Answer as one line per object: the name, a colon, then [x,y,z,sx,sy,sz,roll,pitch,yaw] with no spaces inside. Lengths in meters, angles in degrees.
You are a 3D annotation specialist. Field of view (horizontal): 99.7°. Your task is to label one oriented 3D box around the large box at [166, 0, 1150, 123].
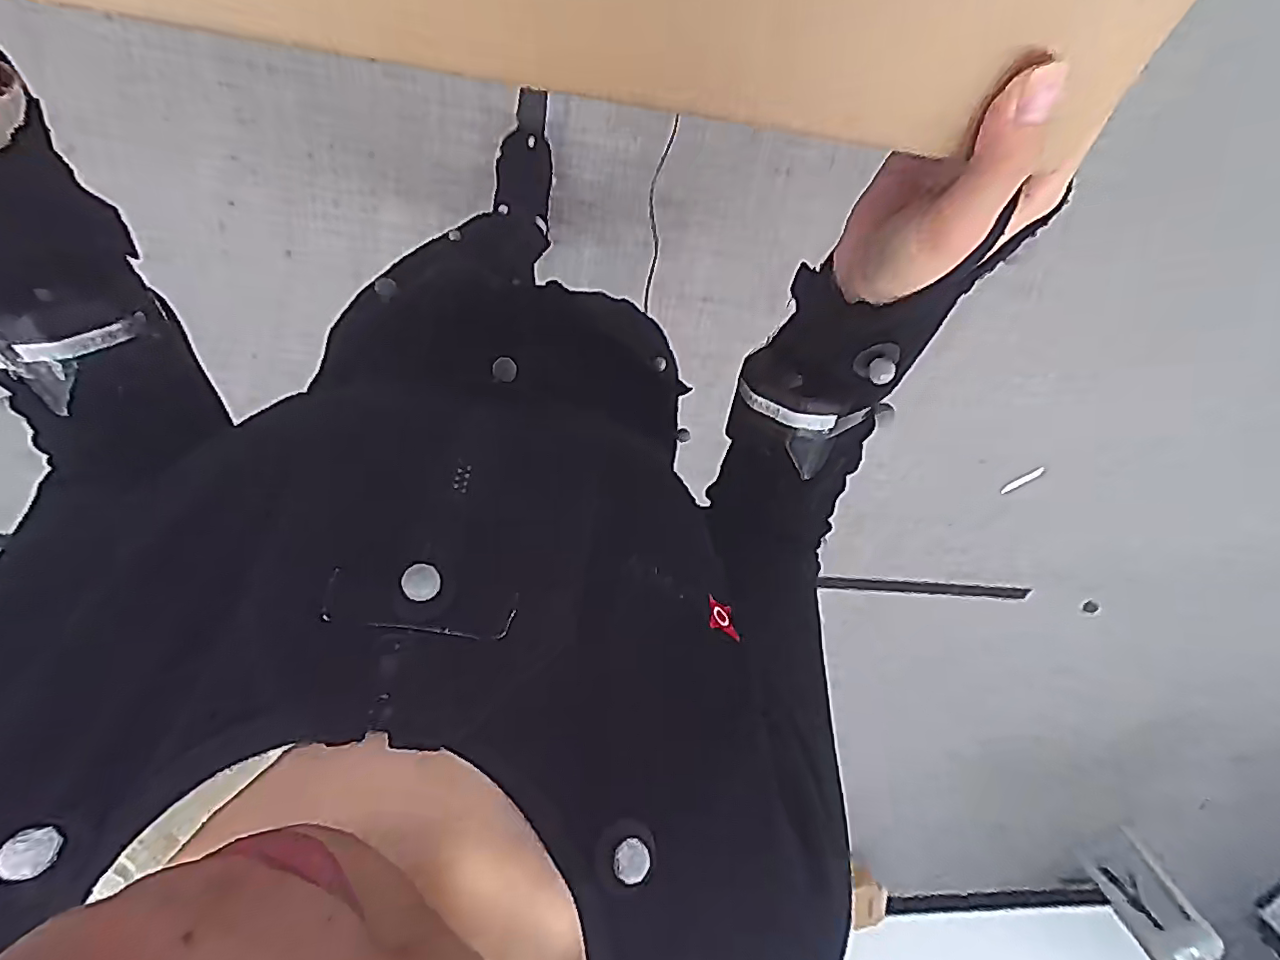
large box: [-0.029,-0.345,0.127,0.408,0.320,0.320,4,147,-8]
